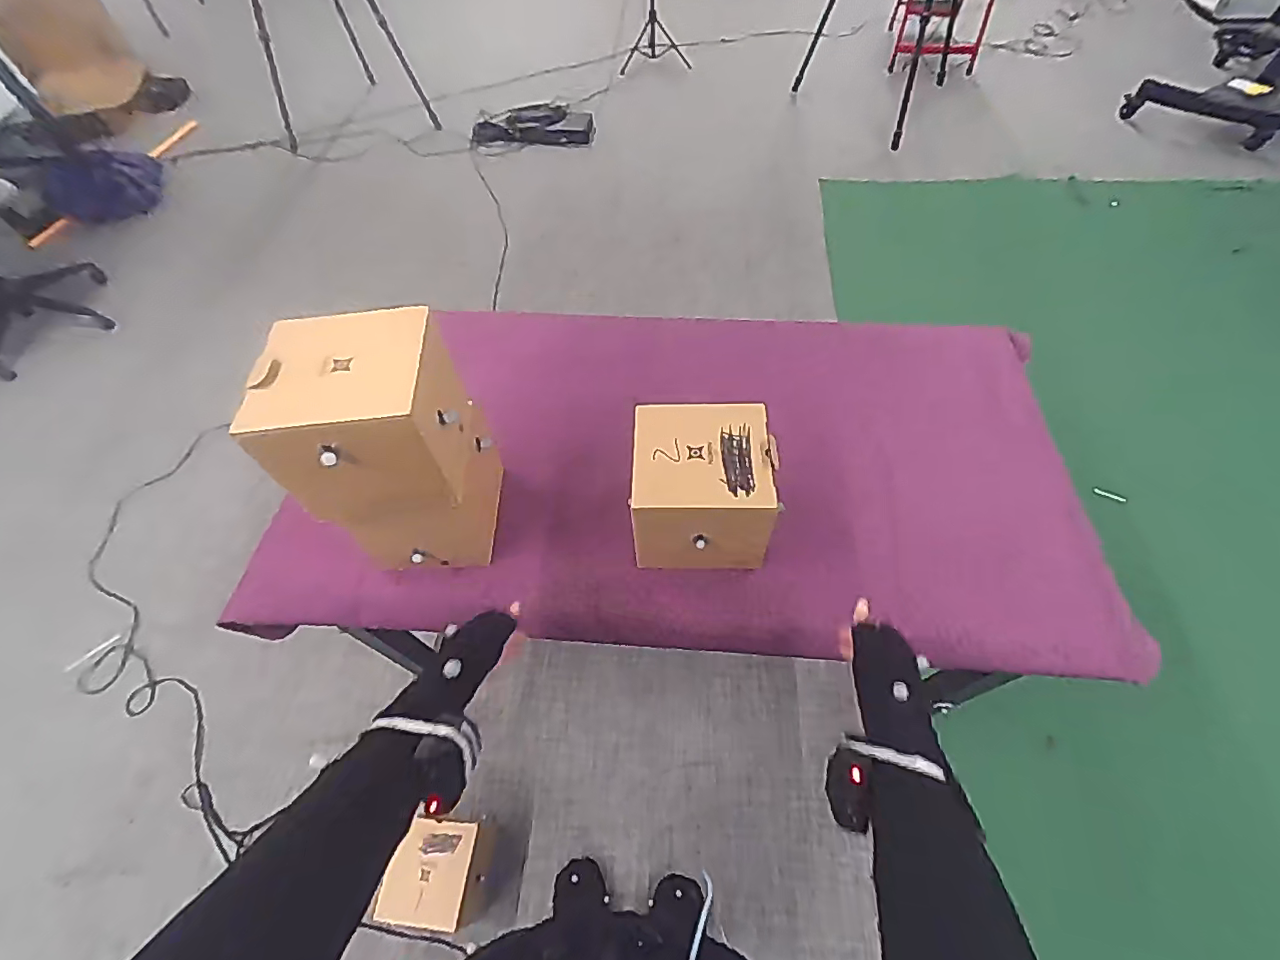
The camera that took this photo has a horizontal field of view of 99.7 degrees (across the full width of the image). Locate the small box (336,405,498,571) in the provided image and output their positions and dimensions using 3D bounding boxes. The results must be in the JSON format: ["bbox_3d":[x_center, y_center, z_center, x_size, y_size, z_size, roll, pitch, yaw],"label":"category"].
[{"bbox_3d":[-0.307,0.014,0.769,0.168,0.176,0.179,-2,55,1],"label":"small box"}]

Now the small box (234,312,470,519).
[{"bbox_3d":[-0.308,-0.070,0.628,0.179,0.176,0.168,-6,56,-2],"label":"small box"}]
